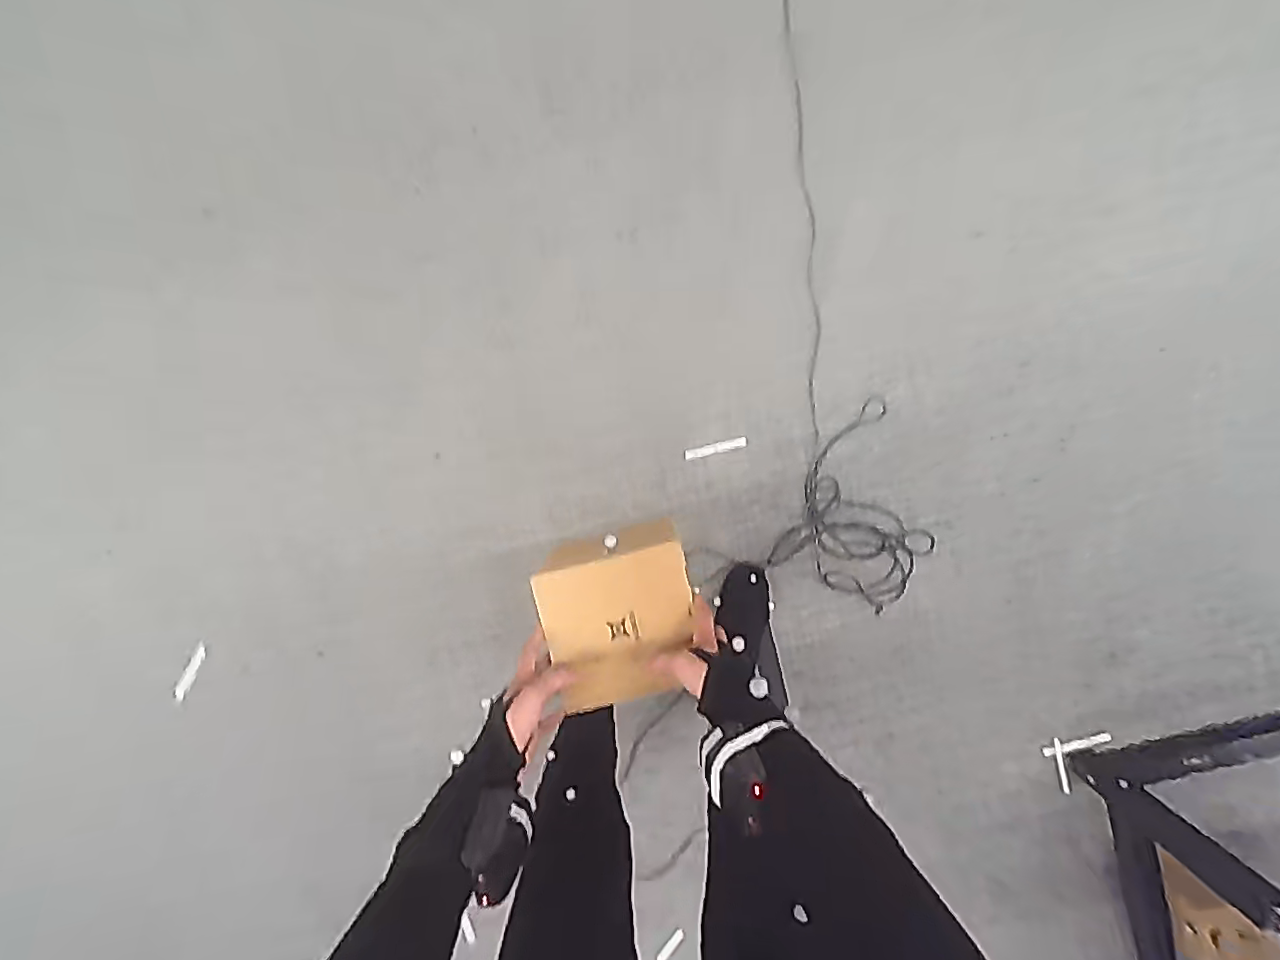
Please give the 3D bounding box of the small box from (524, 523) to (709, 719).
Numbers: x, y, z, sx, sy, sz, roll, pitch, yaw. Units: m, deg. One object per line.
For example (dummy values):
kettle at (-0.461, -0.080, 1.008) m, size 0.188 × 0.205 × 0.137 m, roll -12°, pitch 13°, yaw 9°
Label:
small box at (-0.025, 0.161, 0.671) m, size 0.179 × 0.176 × 0.168 m, roll -14°, pitch 96°, yaw 0°
